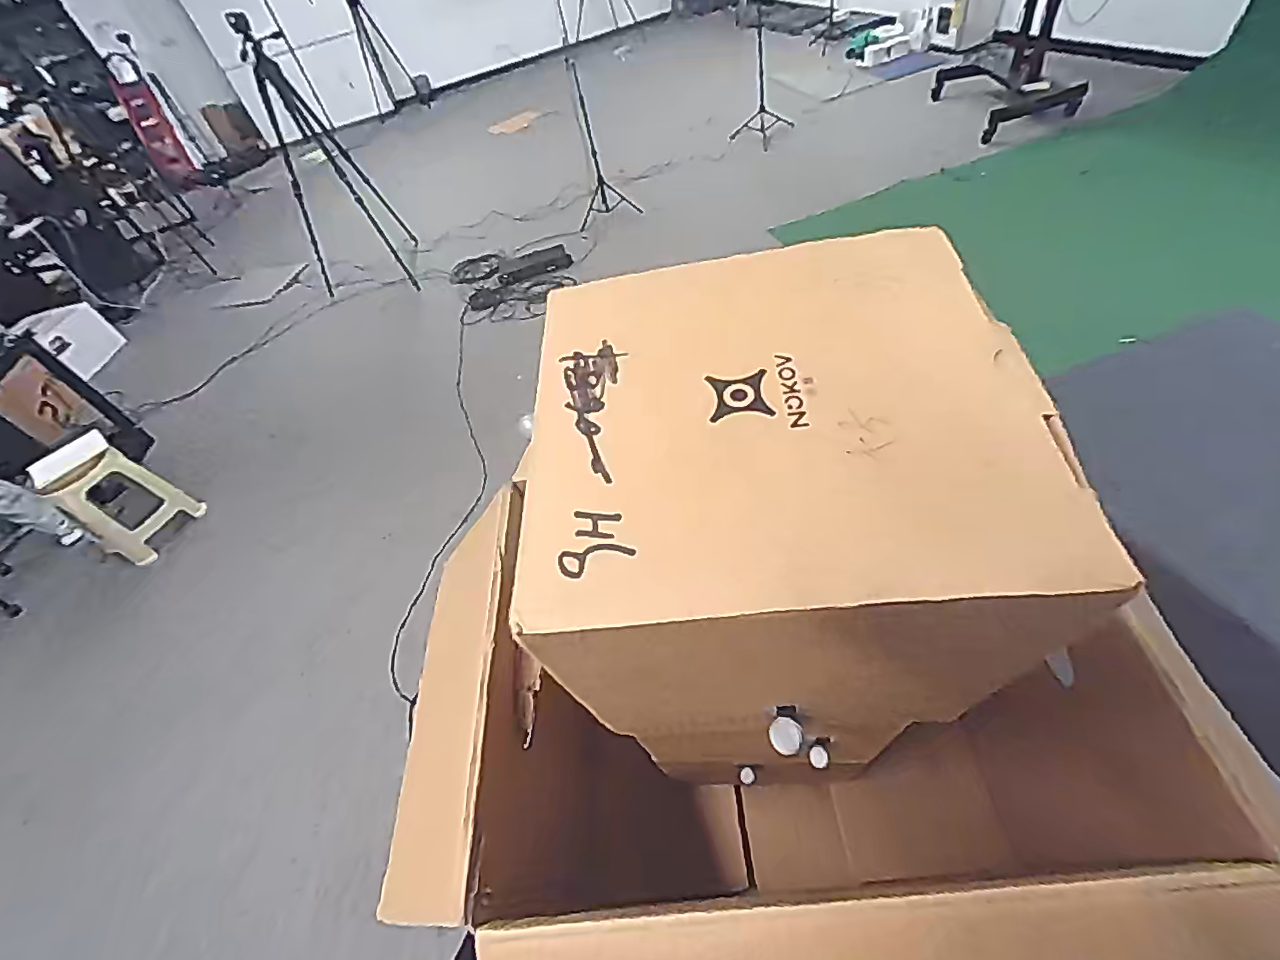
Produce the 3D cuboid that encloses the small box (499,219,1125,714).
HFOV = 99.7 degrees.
[{"bbox_3d":[0.054,0.008,0.260,0.179,0.176,0.168,-5,55,7],"label":"small box"}]
